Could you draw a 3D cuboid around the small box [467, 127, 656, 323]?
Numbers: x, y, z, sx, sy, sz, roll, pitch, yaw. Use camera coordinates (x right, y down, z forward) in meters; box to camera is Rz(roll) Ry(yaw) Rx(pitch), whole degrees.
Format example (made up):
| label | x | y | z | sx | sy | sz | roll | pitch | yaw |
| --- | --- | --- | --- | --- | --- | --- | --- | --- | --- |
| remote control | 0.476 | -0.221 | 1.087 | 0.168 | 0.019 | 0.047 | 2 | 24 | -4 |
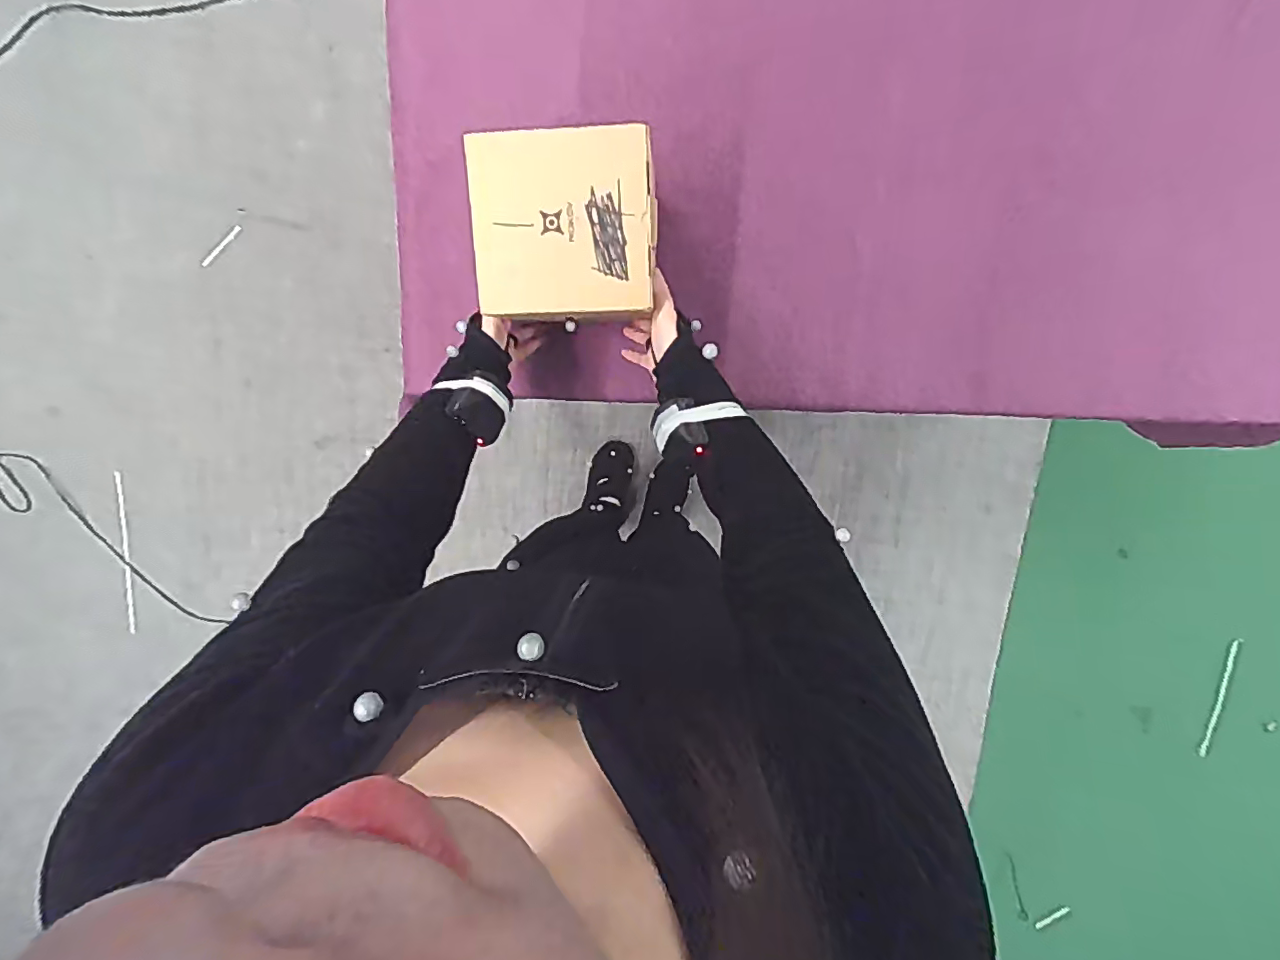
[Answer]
| label | x | y | z | sx | sy | sz | roll | pitch | yaw |
| --- | --- | --- | --- | --- | --- | --- | --- | --- | --- |
| small box | -0.071 | -0.265 | 0.597 | 0.179 | 0.176 | 0.168 | 0 | 103 | 4 |
